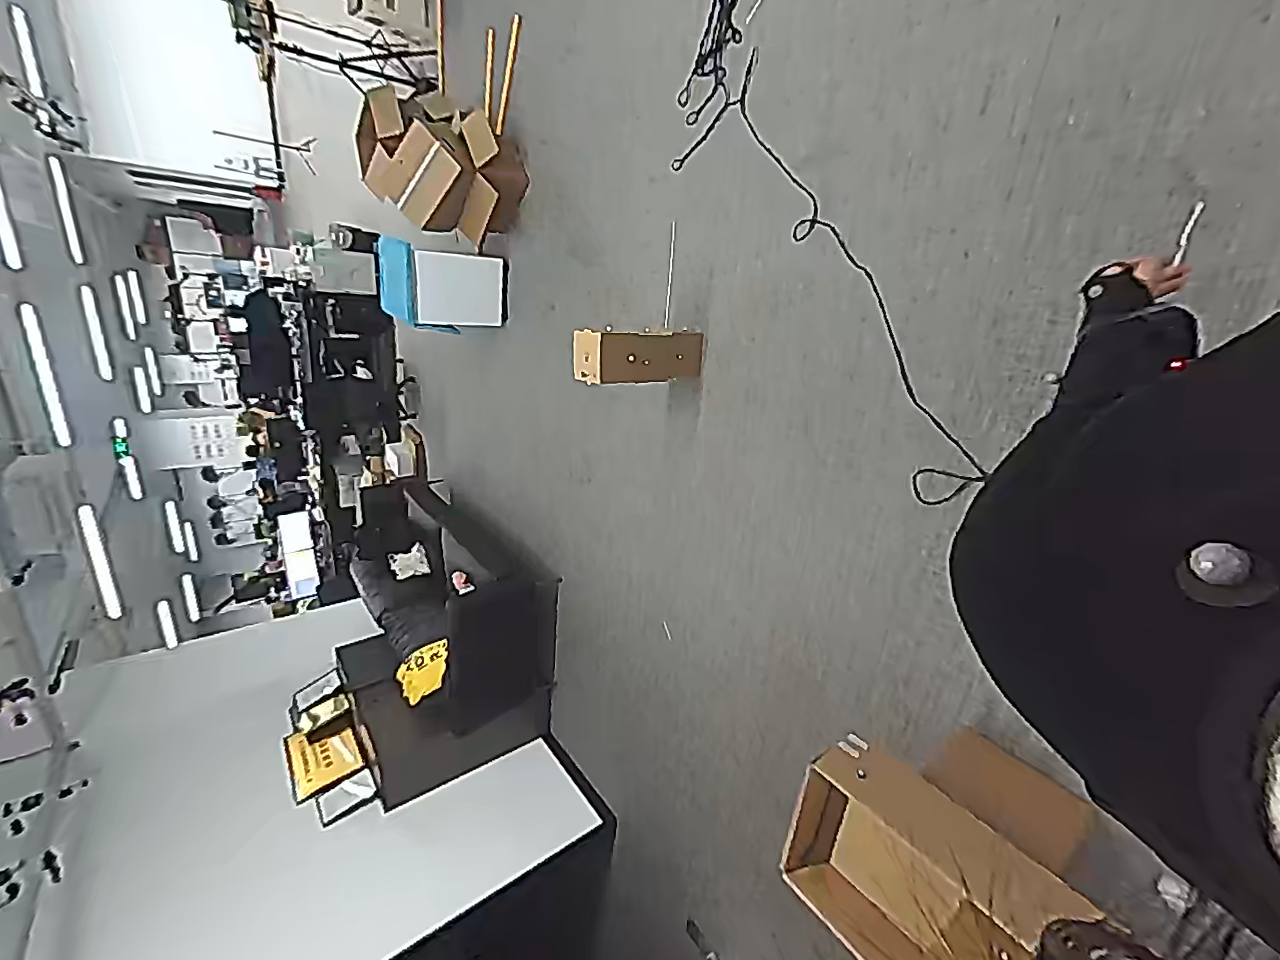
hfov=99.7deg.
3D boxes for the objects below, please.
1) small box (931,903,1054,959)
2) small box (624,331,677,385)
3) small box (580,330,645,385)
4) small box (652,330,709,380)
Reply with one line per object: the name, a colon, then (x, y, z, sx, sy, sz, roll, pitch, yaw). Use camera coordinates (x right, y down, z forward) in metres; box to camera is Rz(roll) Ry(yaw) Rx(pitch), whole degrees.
small box: (0.686, 0.979, 1.052, 0.179, 0.176, 0.168, 31, 122, 47)
small box: (0.023, -0.464, 2.043, 0.168, 0.176, 0.179, 25, 118, 47)
small box: (-0.097, -0.440, 1.934, 0.168, 0.176, 0.179, 23, 116, 49)
small box: (0.154, -0.497, 2.136, 0.168, 0.176, 0.179, 26, 118, 48)
